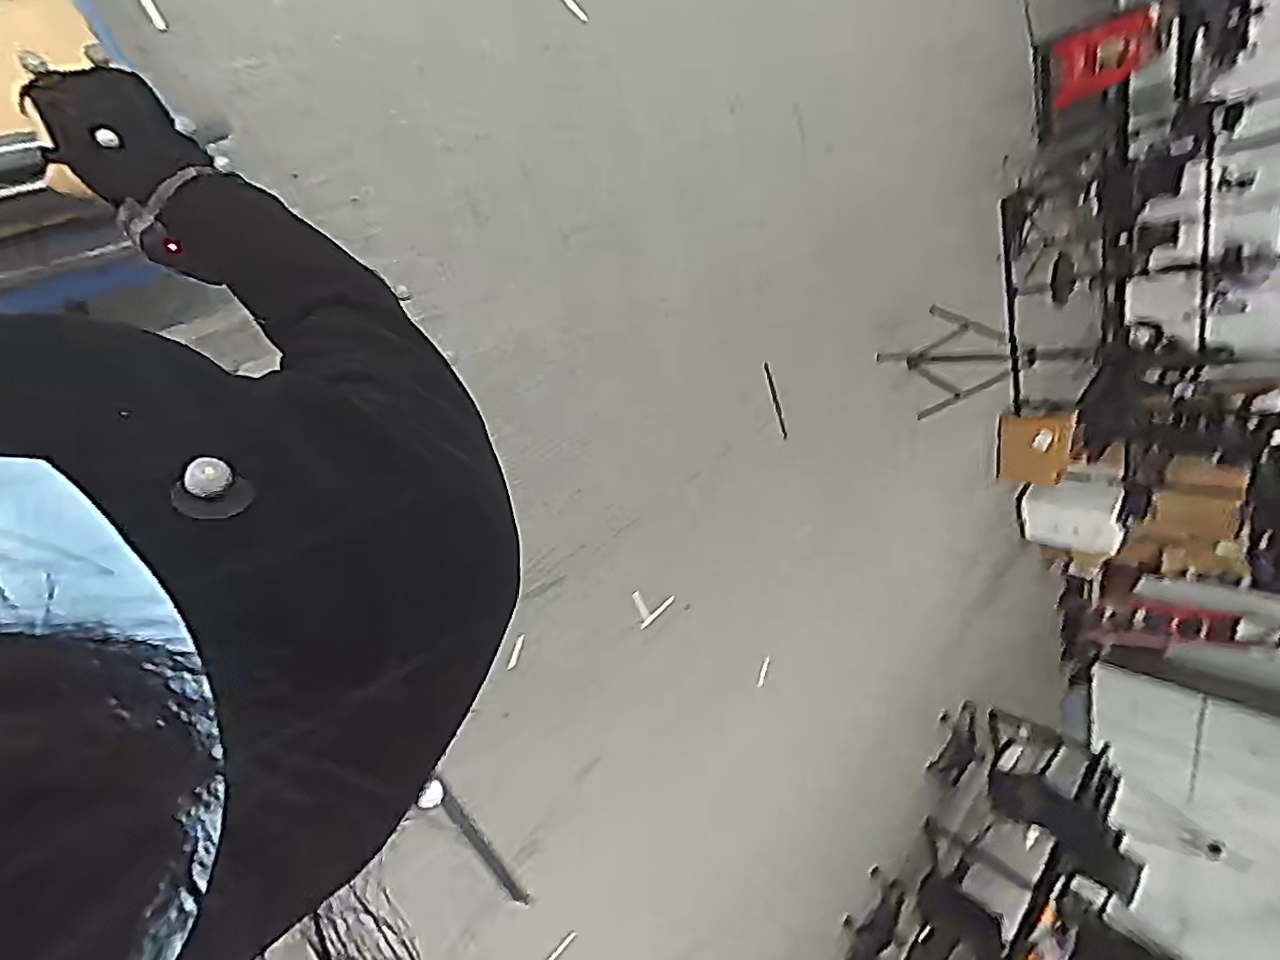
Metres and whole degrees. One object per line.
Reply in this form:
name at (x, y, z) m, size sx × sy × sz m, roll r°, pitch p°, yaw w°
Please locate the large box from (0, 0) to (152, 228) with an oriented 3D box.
large box at (-0.965, -0.523, 0.693) m, size 0.408 × 0.320 × 0.320 m, roll -40°, pitch 120°, yaw -28°
